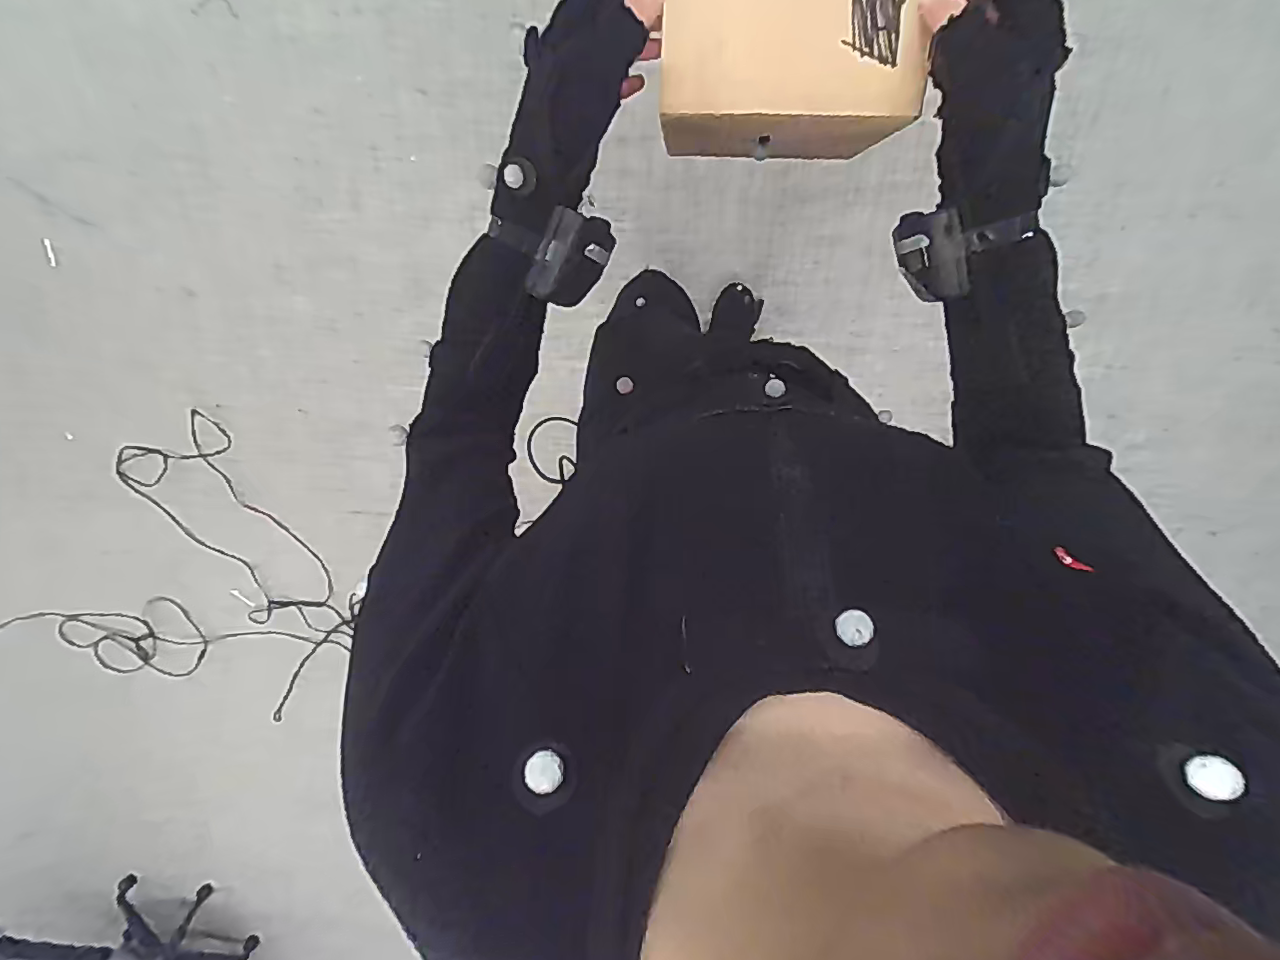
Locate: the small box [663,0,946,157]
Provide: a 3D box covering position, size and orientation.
[{"bbox_3d":[0.110,-0.351,0.404,0.179,0.176,0.168,3,113,5],"label":"small box"}]
